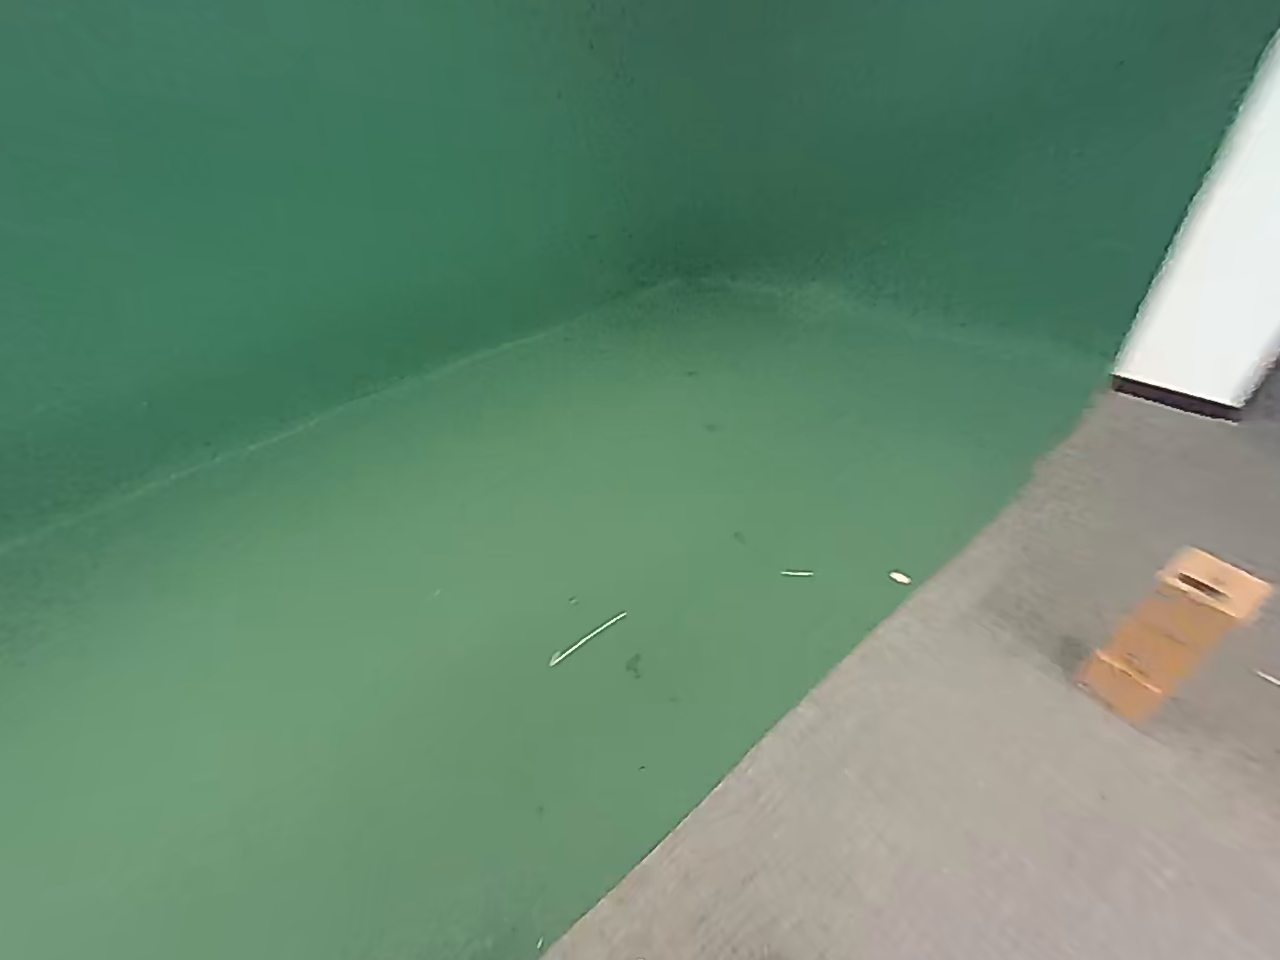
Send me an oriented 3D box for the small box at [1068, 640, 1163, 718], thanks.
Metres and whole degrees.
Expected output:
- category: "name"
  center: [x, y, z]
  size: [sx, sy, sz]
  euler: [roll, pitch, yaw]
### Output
- category: "small box"
  center: [1.404, 0.558, 1.585]
  size: [0.179, 0.176, 0.168]
  euler: [-26, 44, -23]
